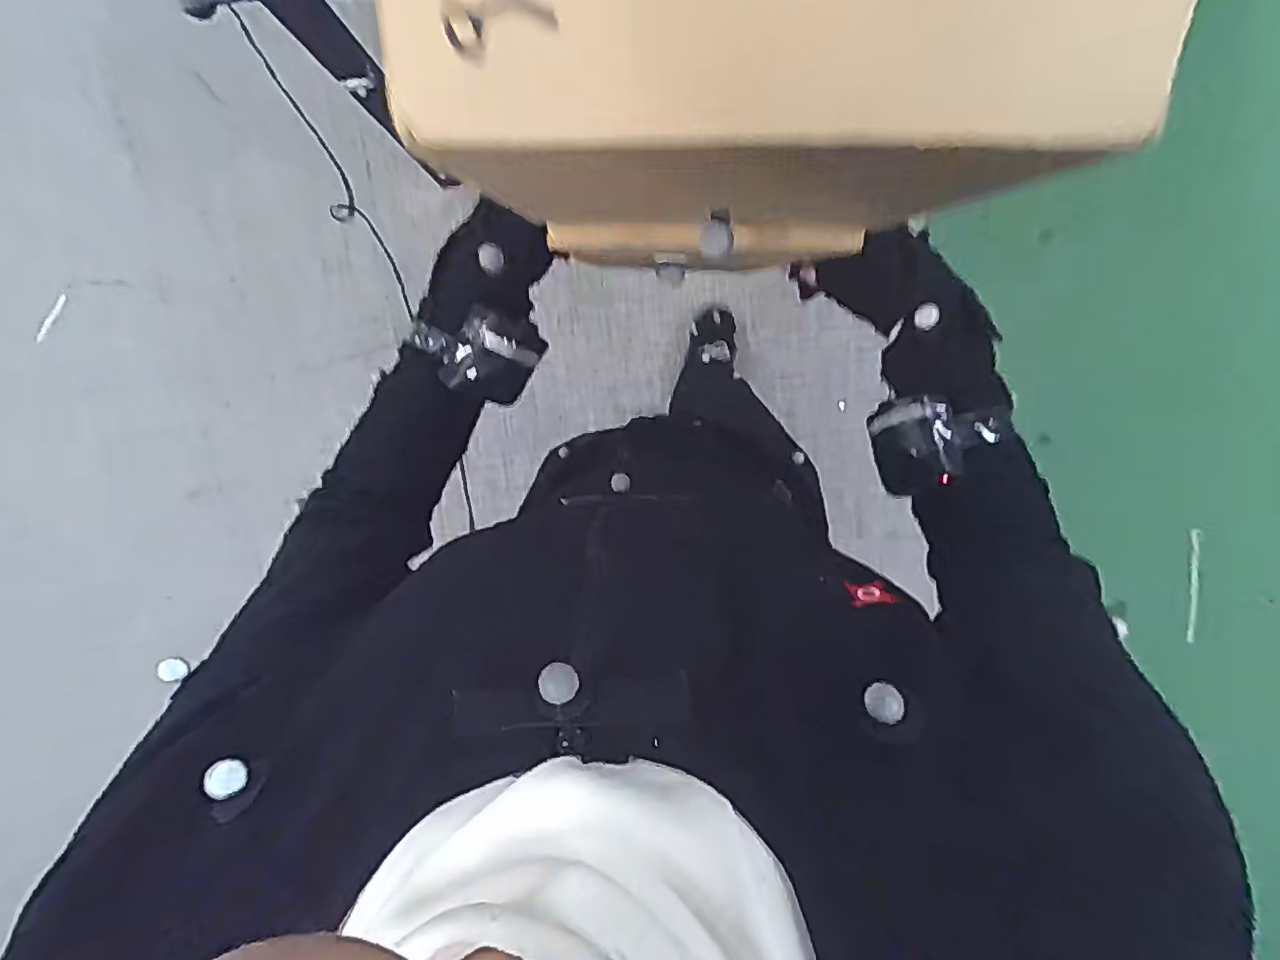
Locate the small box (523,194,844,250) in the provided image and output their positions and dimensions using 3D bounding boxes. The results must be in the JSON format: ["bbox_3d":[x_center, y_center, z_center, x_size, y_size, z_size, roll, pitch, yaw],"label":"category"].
[{"bbox_3d":[0.028,-0.239,0.323,0.168,0.176,0.179,3,111,2],"label":"small box"}]
